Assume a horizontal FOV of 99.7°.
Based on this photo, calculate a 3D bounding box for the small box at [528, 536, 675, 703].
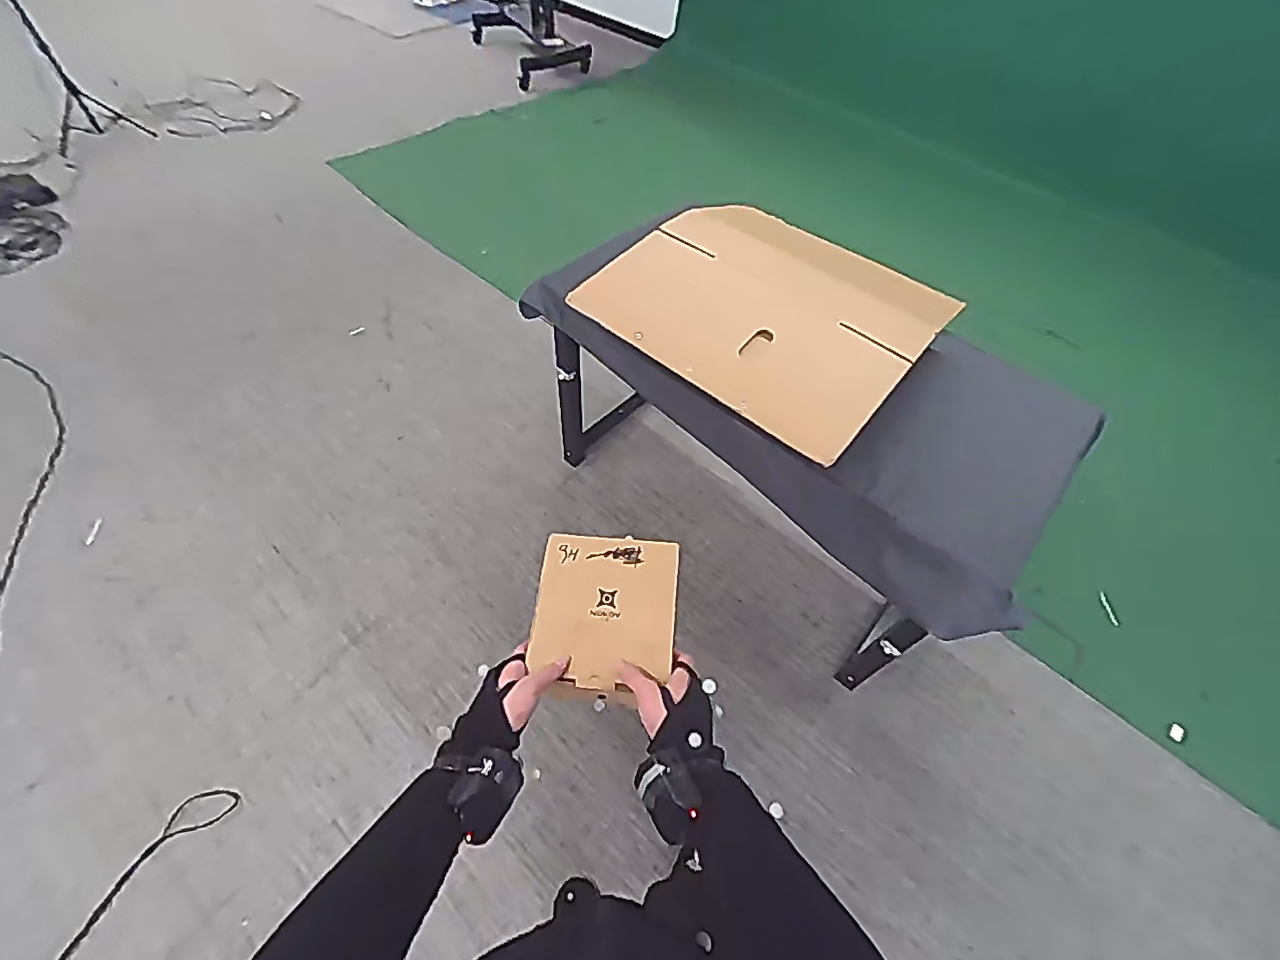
[{"bbox_3d":[-0.038,0.189,0.710,0.168,0.176,0.179,2,59,3],"label":"small box"}]
